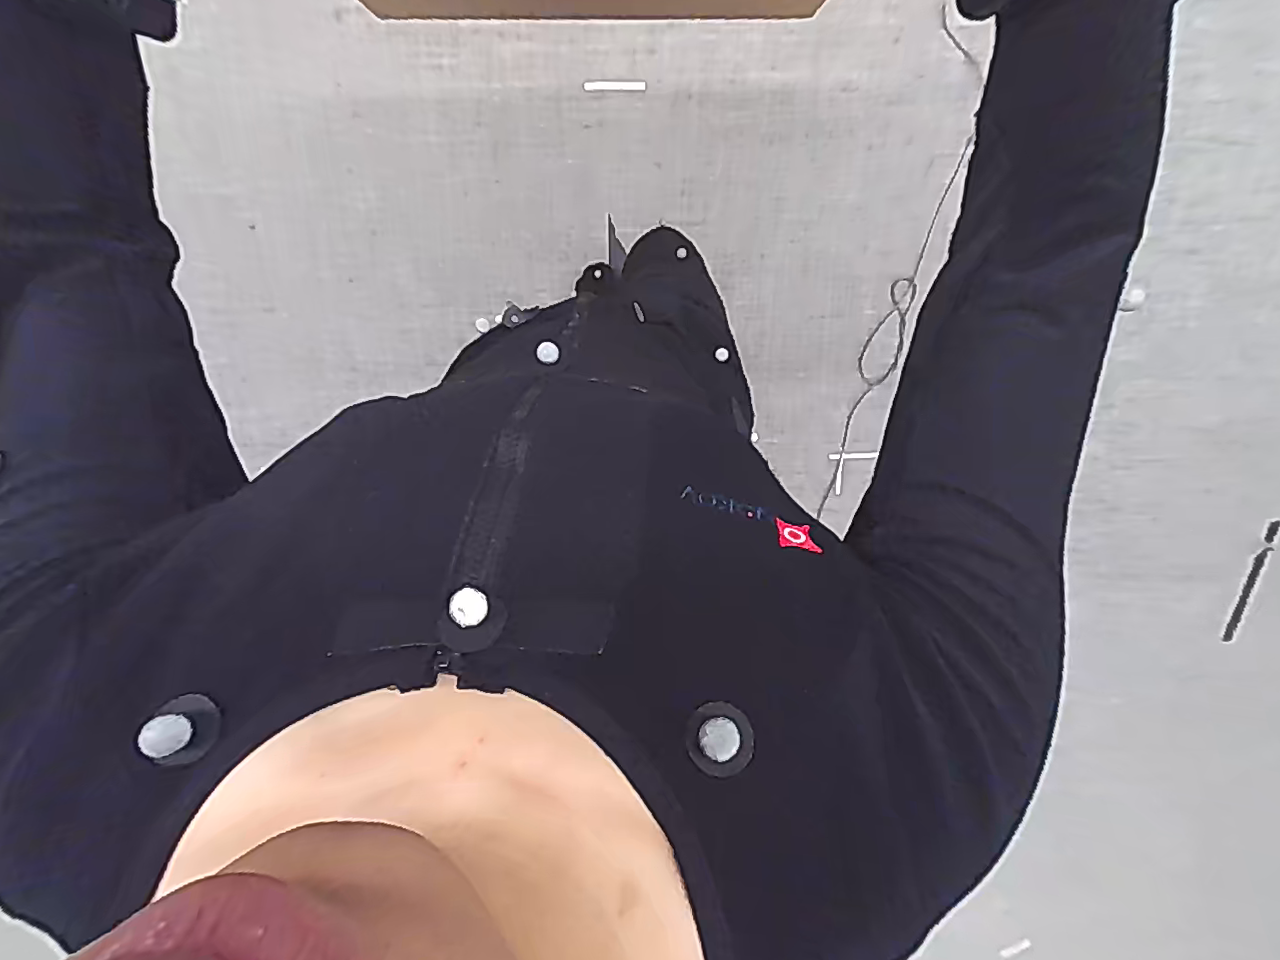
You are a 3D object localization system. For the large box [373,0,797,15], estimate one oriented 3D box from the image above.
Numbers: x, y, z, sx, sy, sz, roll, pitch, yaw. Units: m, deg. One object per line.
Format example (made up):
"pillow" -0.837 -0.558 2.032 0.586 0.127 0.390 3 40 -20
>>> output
"large box" -0.040 -0.512 0.301 0.408 0.320 0.320 -2 115 -1
